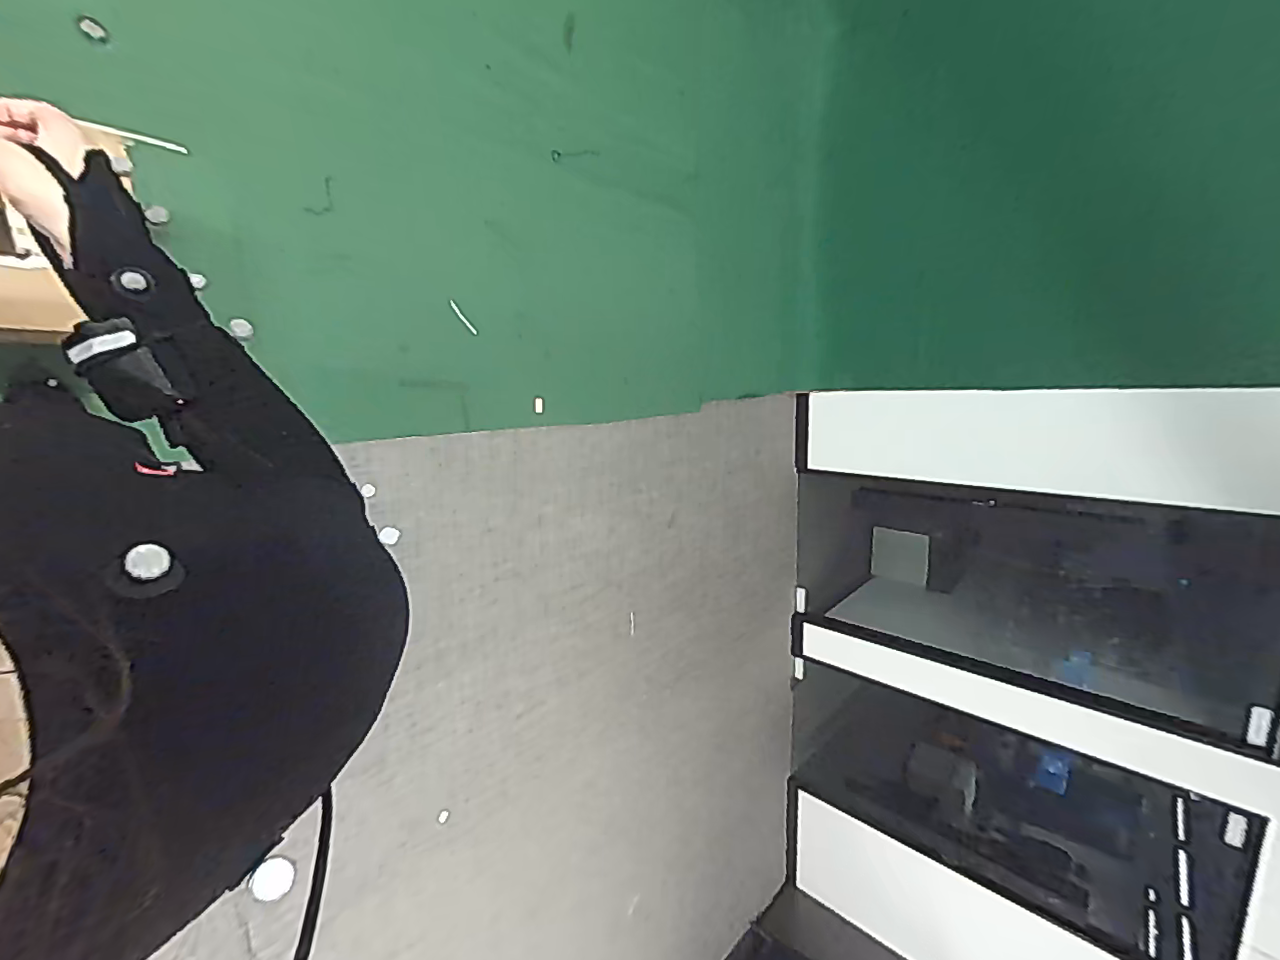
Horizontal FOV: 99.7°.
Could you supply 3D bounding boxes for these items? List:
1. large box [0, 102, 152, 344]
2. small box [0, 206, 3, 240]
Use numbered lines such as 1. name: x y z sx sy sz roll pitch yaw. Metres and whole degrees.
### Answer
1. large box: -1.060 -0.385 0.831 0.408 0.320 0.320 -10 104 -47
2. small box: -0.546 -0.255 0.335 0.168 0.176 0.179 -18 111 -45
